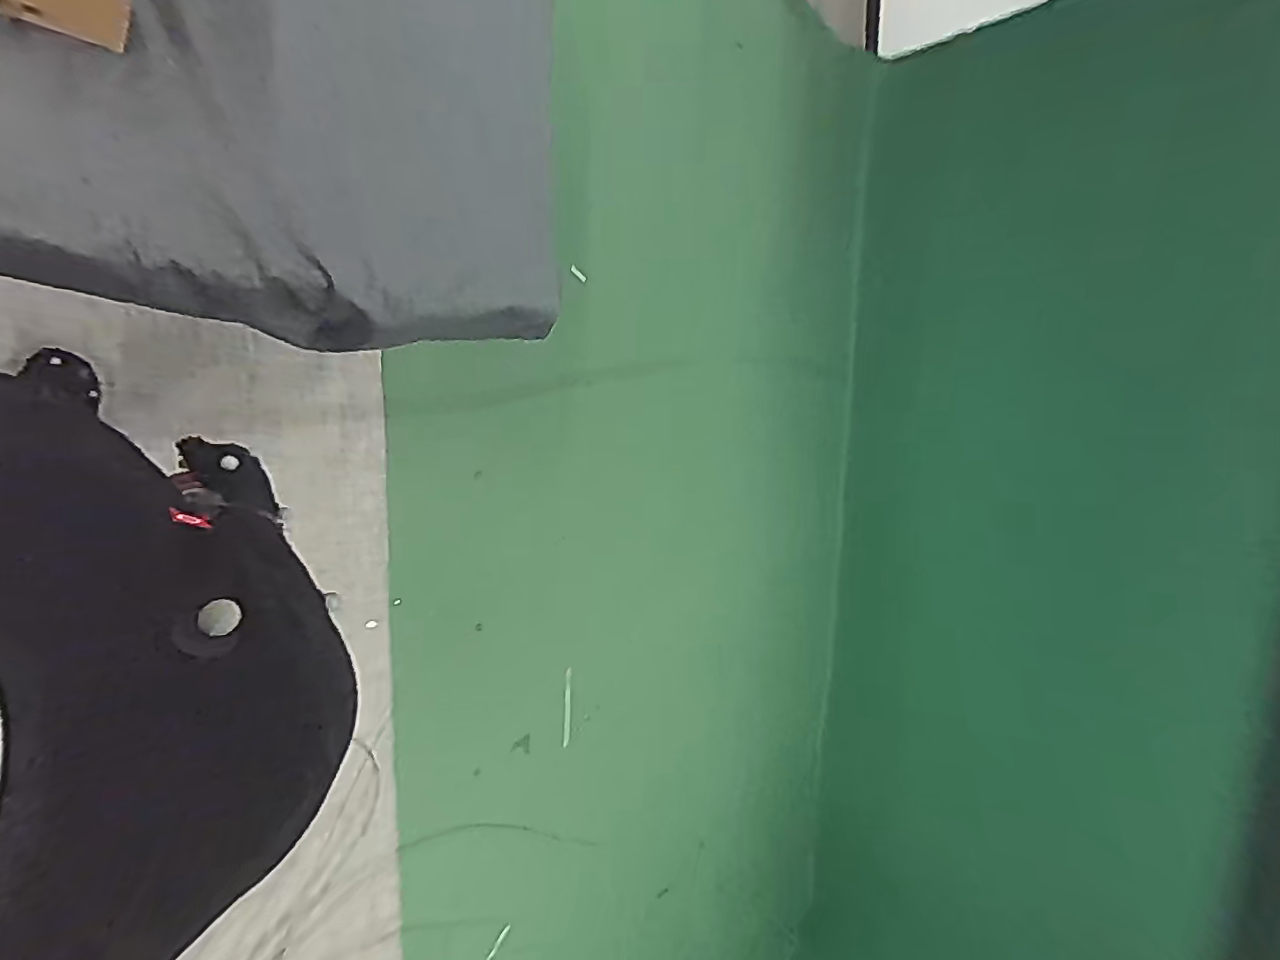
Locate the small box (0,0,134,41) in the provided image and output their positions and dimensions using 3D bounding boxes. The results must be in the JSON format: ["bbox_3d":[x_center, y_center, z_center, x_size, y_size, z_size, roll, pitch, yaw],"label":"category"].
[{"bbox_3d":[-0.515,-0.500,0.416,0.168,0.176,0.179,-12,106,-46],"label":"small box"}]
